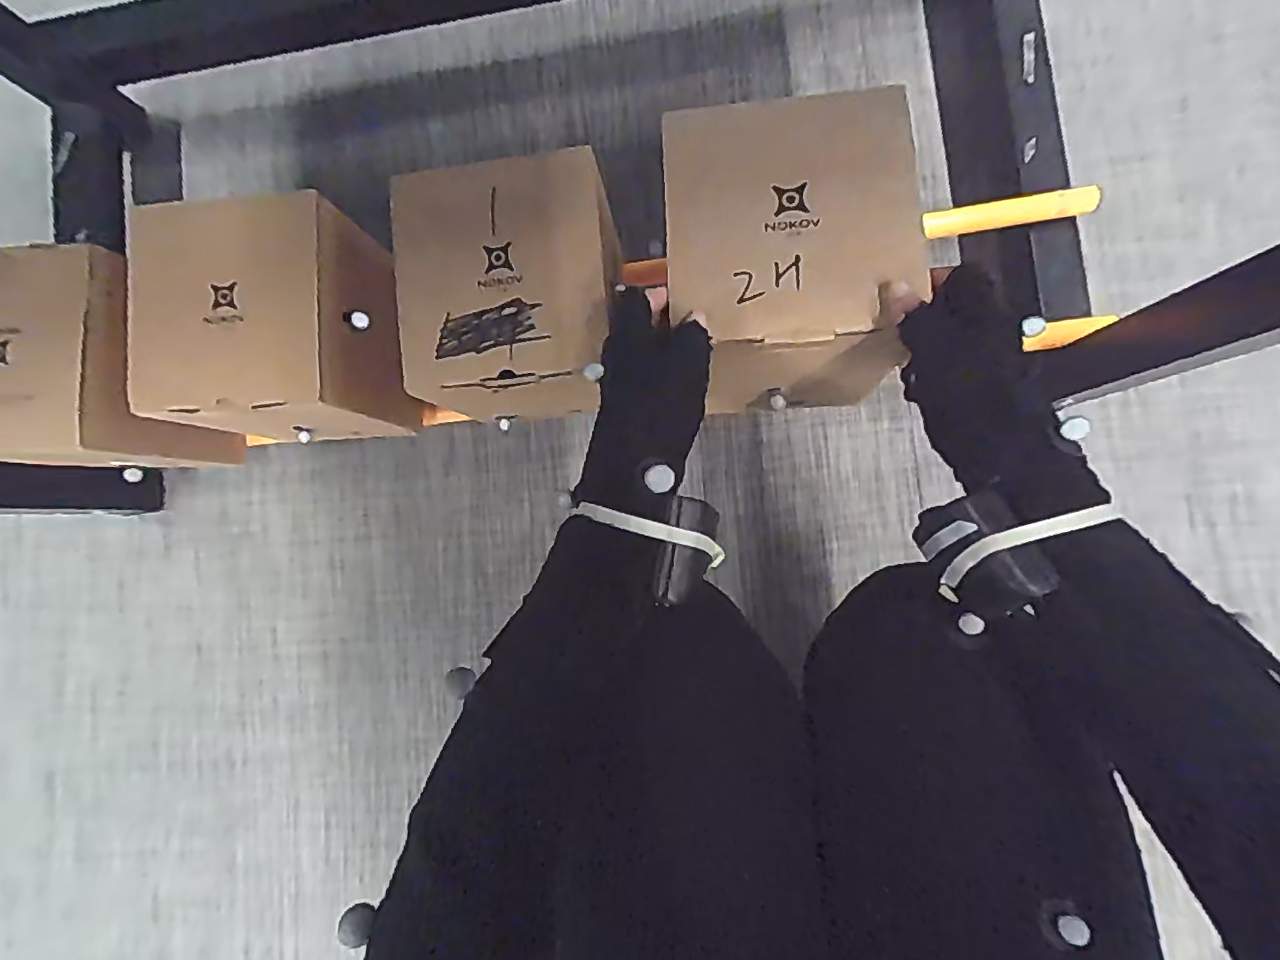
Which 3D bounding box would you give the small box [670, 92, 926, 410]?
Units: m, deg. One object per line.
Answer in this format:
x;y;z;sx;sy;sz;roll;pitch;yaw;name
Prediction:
0.110;-0.167;0.444;0.168;0.176;0.179;-2;81;7;small box
